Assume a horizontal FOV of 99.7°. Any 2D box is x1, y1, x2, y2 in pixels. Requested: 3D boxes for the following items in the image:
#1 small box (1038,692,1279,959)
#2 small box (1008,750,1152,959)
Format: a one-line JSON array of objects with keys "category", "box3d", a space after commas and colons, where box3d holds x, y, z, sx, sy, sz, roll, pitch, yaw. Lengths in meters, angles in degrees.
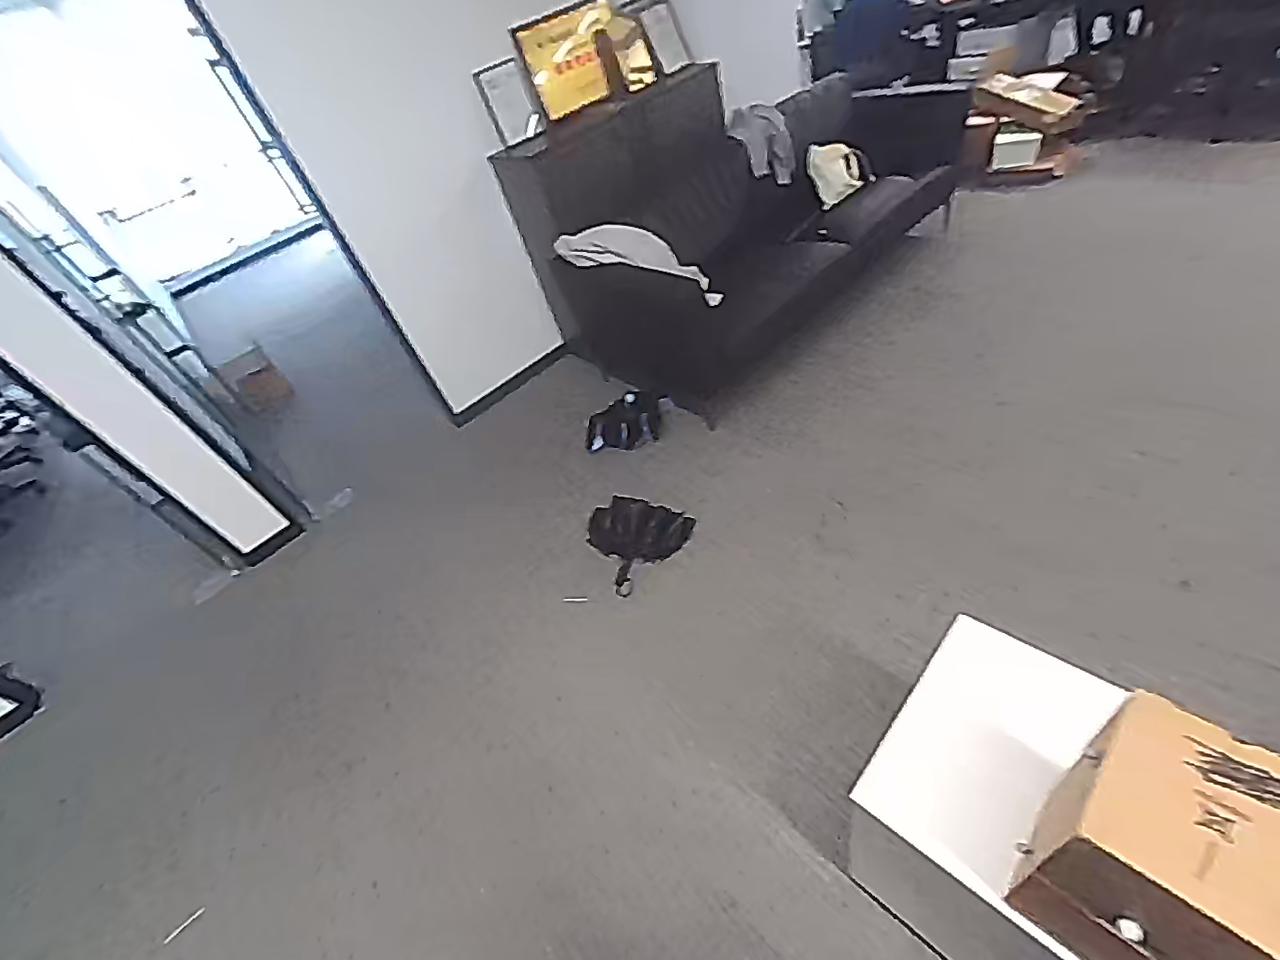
[{"category": "small box", "box3d": [0.532, 0.358, 0.535, 0.168, 0.176, 0.179, 28, 60, 39]}, {"category": "small box", "box3d": [0.569, 0.475, 0.645, 0.168, 0.176, 0.179, 27, 57, 38]}]
